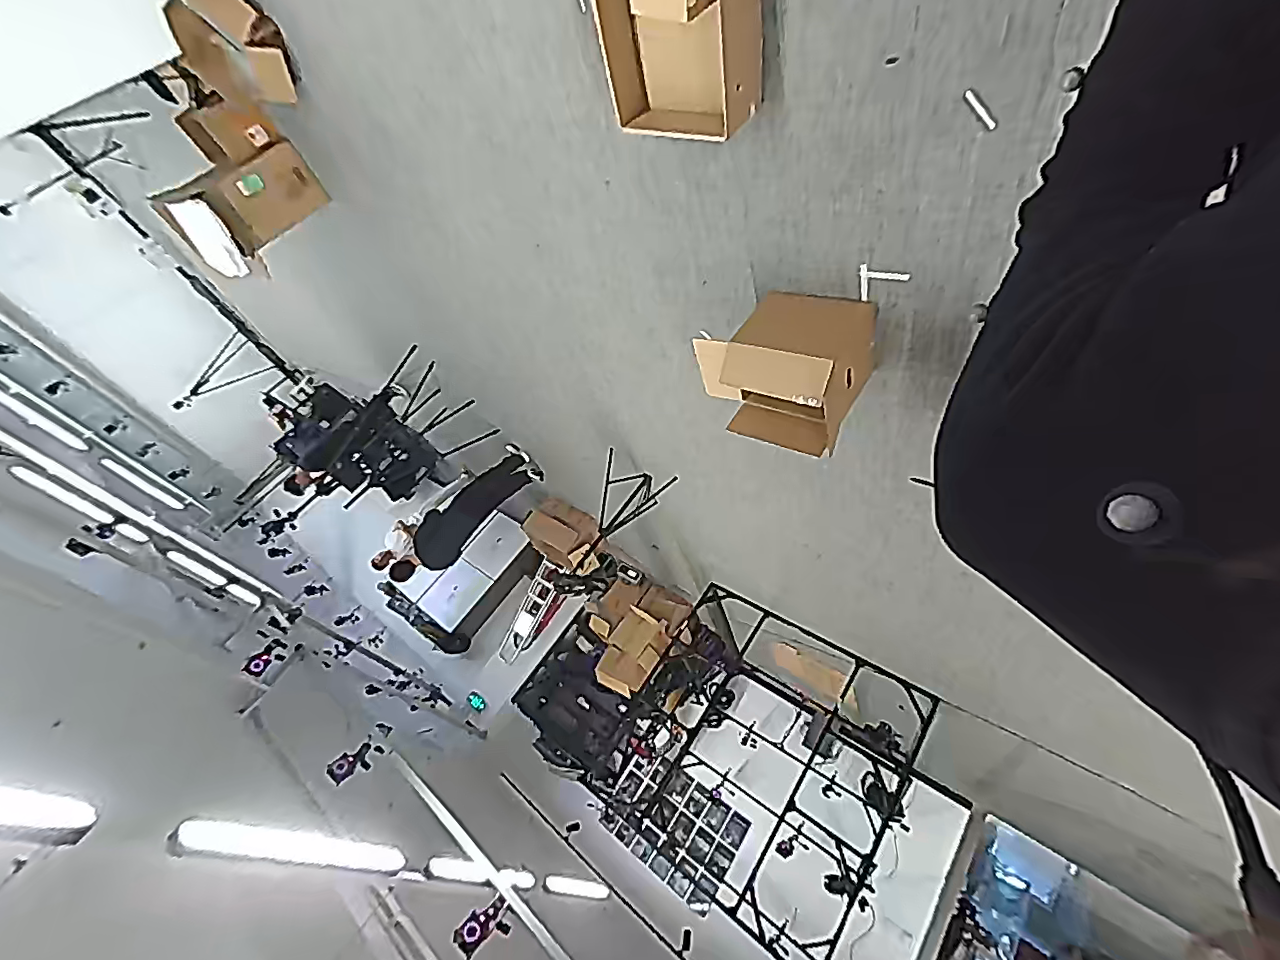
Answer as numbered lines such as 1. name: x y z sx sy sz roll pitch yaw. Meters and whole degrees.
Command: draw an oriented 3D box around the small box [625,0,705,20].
1. small box: 0.075 -1.247 1.292 0.179 0.176 0.168 30 157 21
